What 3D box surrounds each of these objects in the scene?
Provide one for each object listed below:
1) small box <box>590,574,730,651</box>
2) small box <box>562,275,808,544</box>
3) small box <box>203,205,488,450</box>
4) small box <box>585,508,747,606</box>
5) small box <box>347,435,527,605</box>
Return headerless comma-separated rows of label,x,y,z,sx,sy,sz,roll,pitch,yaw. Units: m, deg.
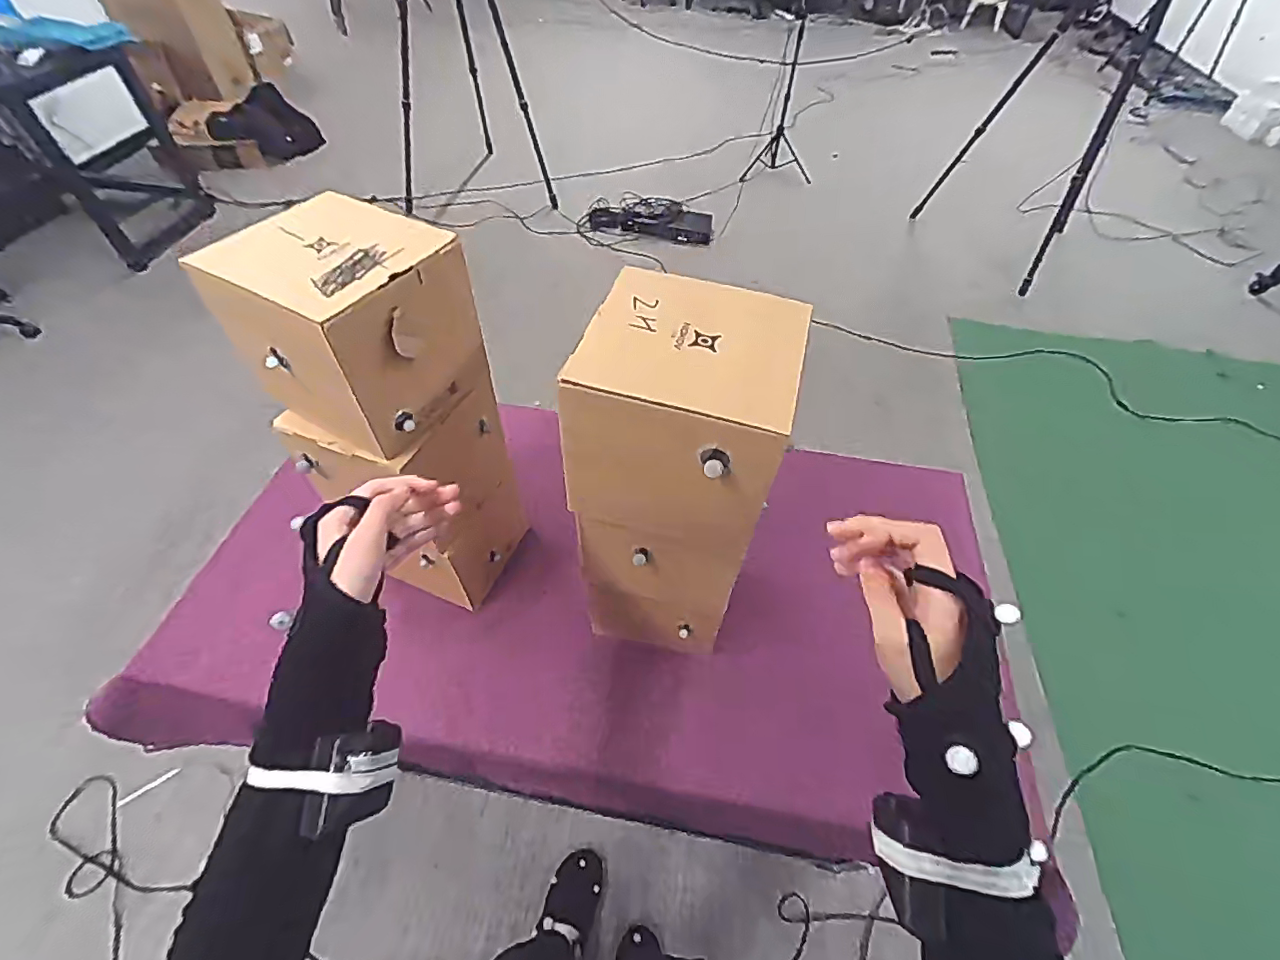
small box,0.035,0.129,0.780,0.179,0.176,0.168,10,50,6
small box,0.041,-0.062,0.511,0.179,0.176,0.168,15,51,9
small box,-0.287,-0.157,0.574,0.179,0.176,0.168,24,53,16
small box,0.037,0.031,0.648,0.179,0.176,0.168,12,51,8
small box,-0.290,0.064,0.818,0.179,0.176,0.168,19,52,11
